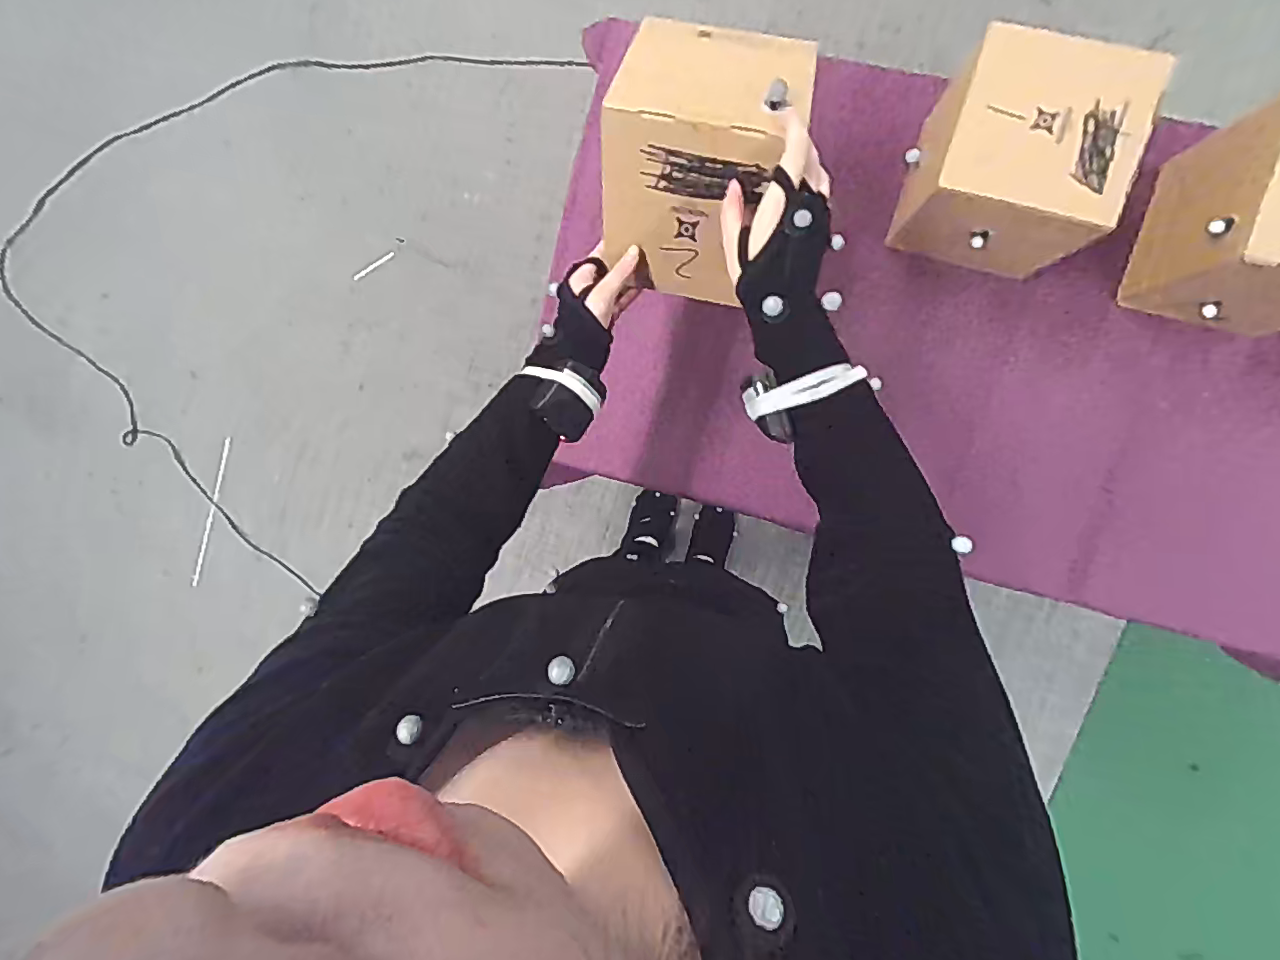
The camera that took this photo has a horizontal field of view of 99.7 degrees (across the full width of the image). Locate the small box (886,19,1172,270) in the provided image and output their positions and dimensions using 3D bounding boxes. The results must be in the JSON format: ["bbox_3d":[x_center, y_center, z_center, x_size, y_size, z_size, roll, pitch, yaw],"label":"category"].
[{"bbox_3d":[0.410,-0.355,0.608,0.179,0.176,0.168,18,96,7],"label":"small box"}]

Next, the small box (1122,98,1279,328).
[{"bbox_3d":[0.681,-0.281,0.578,0.168,0.176,0.179,16,97,6],"label":"small box"}]
